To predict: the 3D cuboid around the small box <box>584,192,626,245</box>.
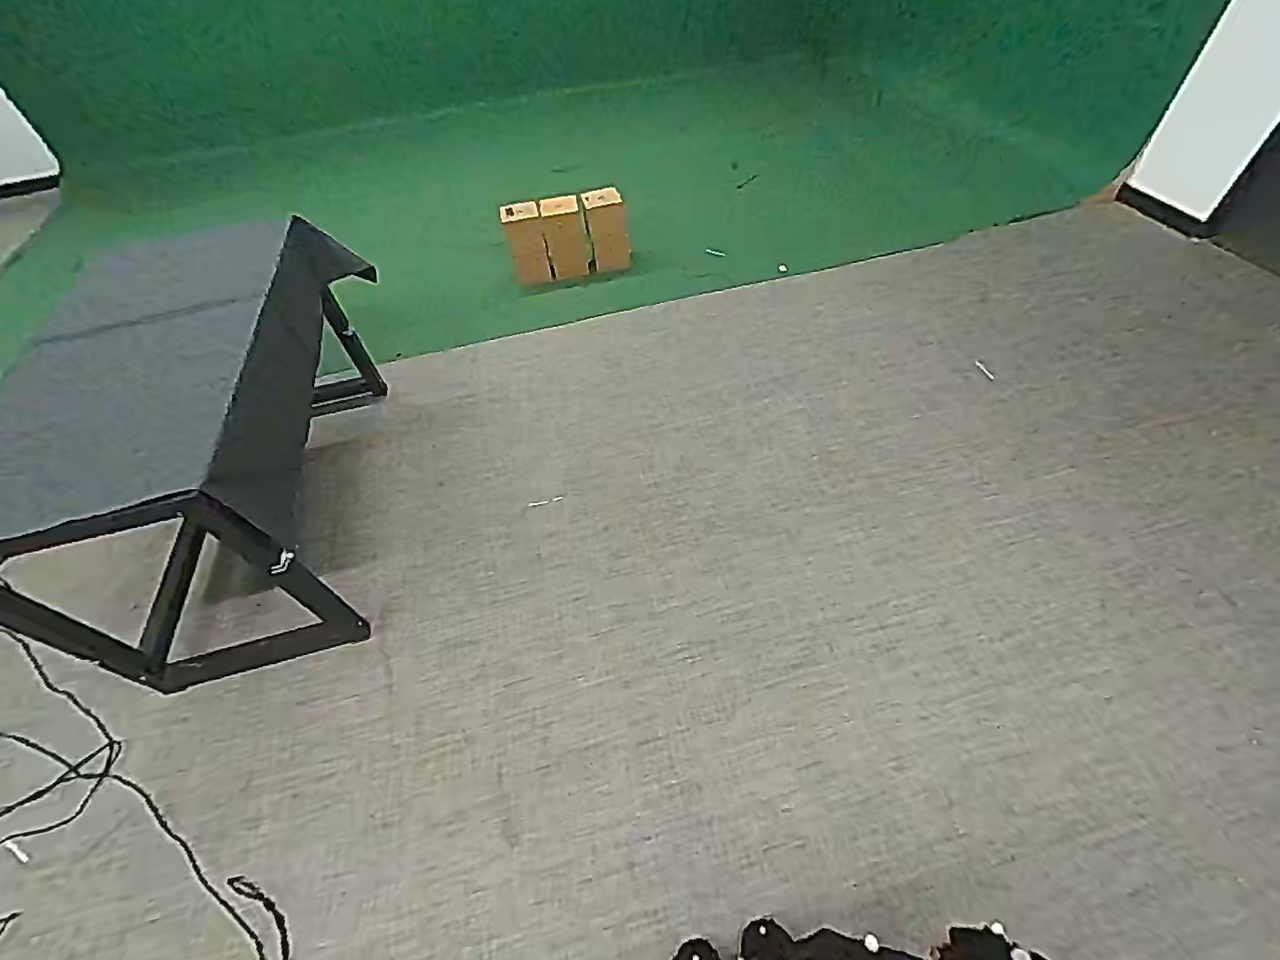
[{"bbox_3d":[-0.168,-1.270,2.625,0.179,0.176,0.168,-13,51,-6],"label":"small box"}]
